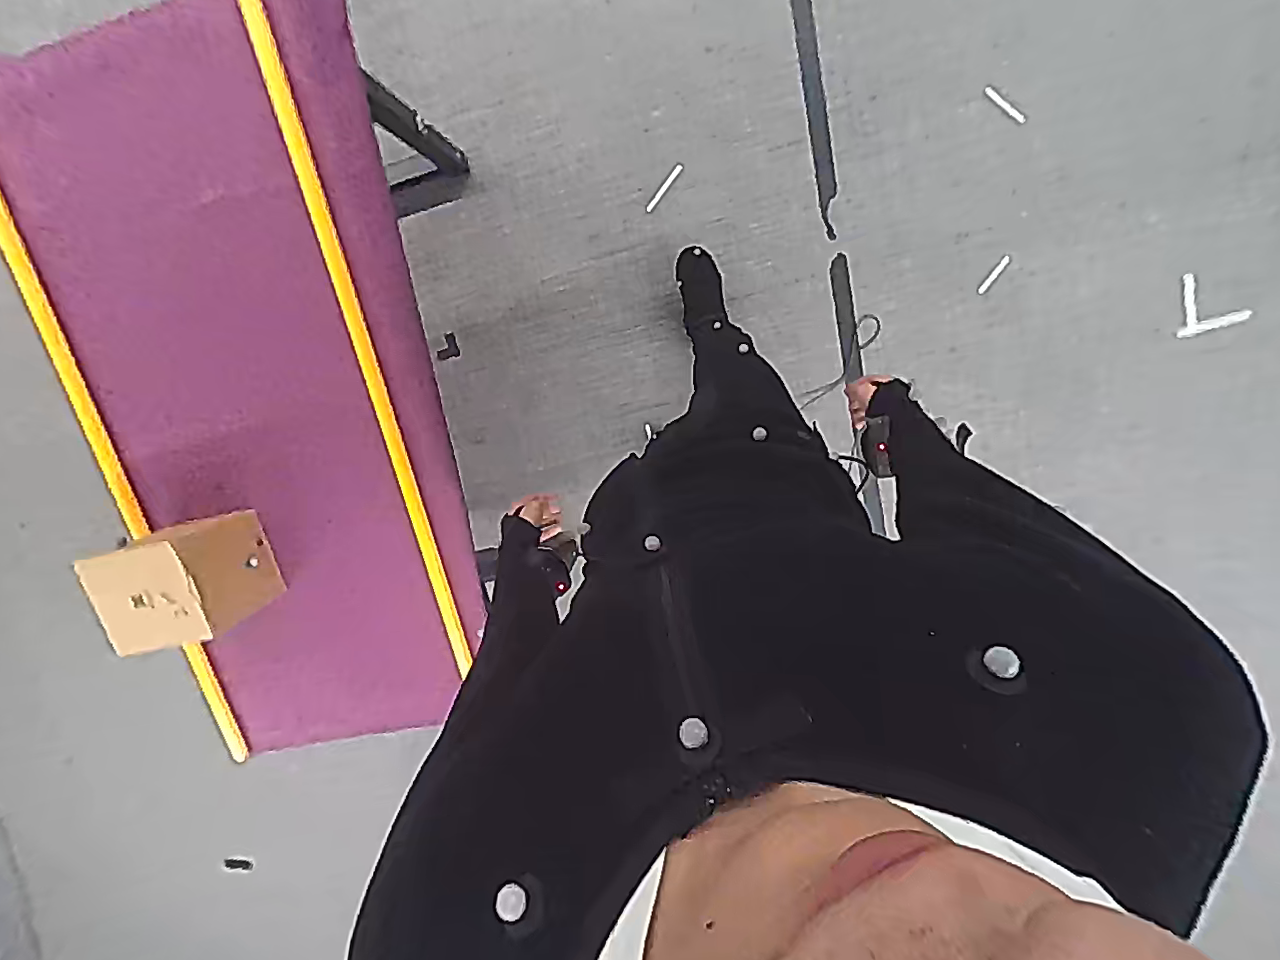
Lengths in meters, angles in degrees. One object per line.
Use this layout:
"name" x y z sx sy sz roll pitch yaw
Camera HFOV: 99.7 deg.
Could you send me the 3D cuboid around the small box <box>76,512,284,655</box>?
"small box" -0.755 0.166 0.908 0.179 0.176 0.168 -12 103 6
